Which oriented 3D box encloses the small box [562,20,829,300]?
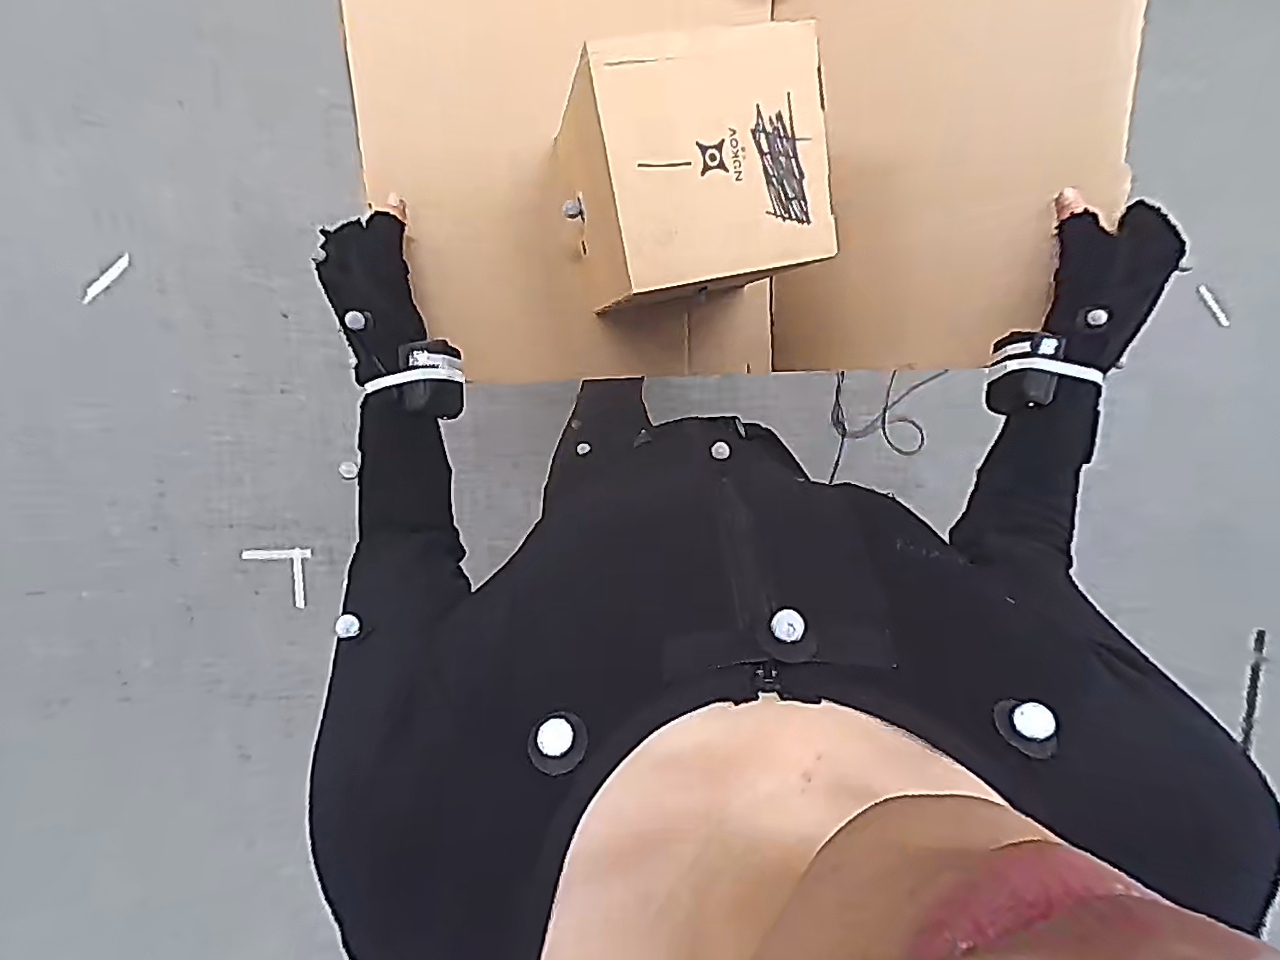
[{"bbox_3d":[0.040,-0.264,0.482,0.179,0.176,0.168,-14,105,-11],"label":"small box"}]
